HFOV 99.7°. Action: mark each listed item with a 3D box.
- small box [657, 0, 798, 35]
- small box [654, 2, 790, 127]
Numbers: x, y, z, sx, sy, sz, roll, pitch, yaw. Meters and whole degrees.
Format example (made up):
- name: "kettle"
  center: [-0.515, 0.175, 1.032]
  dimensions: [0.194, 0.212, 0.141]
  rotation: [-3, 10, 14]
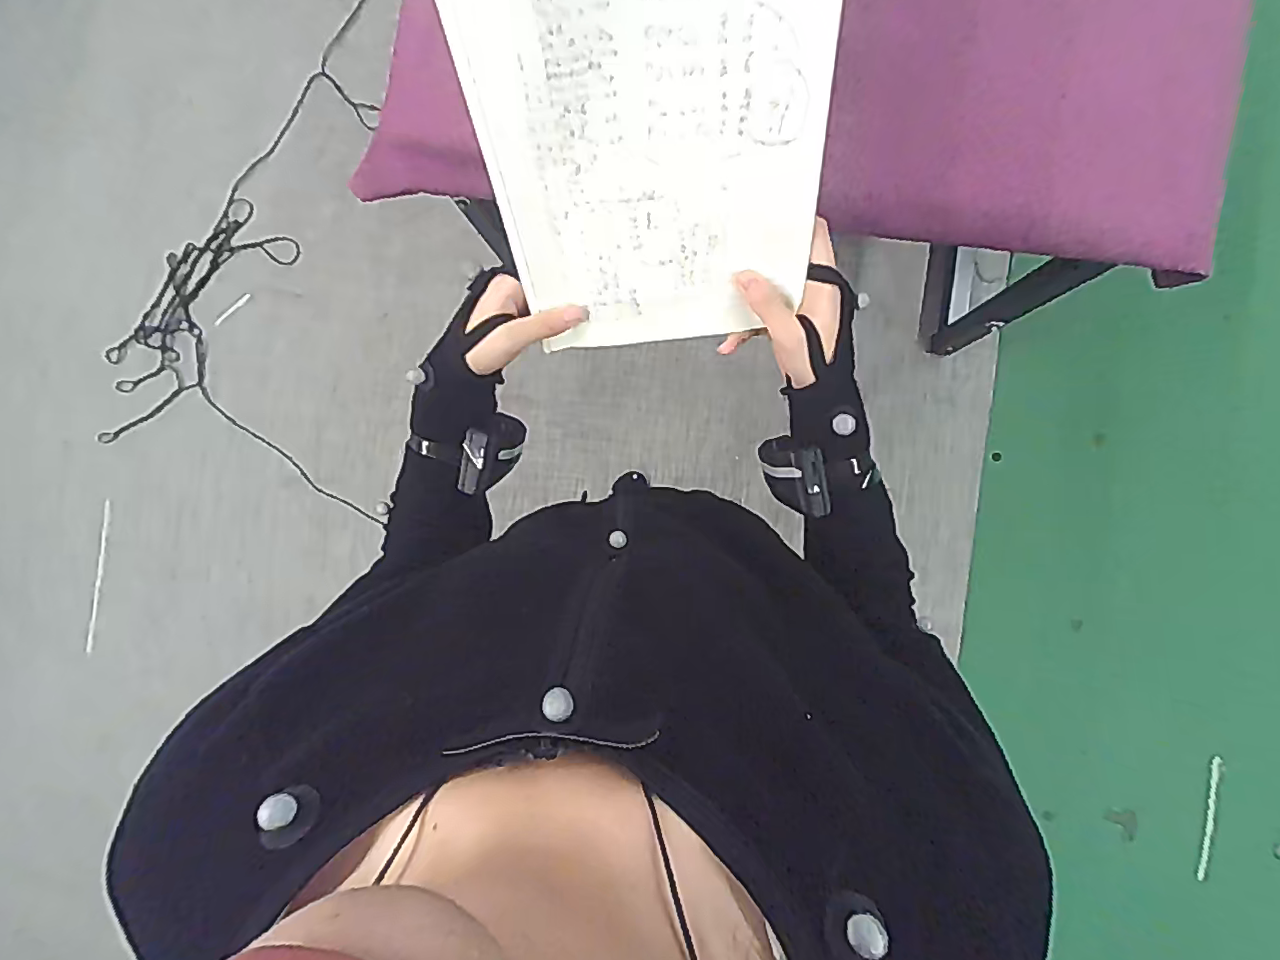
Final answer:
- name: "small box"
  center: [0.104, -0.616, 0.561]
  dimensions: [0.168, 0.176, 0.179]
  rotation: [10, 87, 5]
- name: "small box"
  center: [0.117, -0.616, 0.726]
  dimensions: [0.168, 0.176, 0.179]
  rotation: [10, 89, 4]
